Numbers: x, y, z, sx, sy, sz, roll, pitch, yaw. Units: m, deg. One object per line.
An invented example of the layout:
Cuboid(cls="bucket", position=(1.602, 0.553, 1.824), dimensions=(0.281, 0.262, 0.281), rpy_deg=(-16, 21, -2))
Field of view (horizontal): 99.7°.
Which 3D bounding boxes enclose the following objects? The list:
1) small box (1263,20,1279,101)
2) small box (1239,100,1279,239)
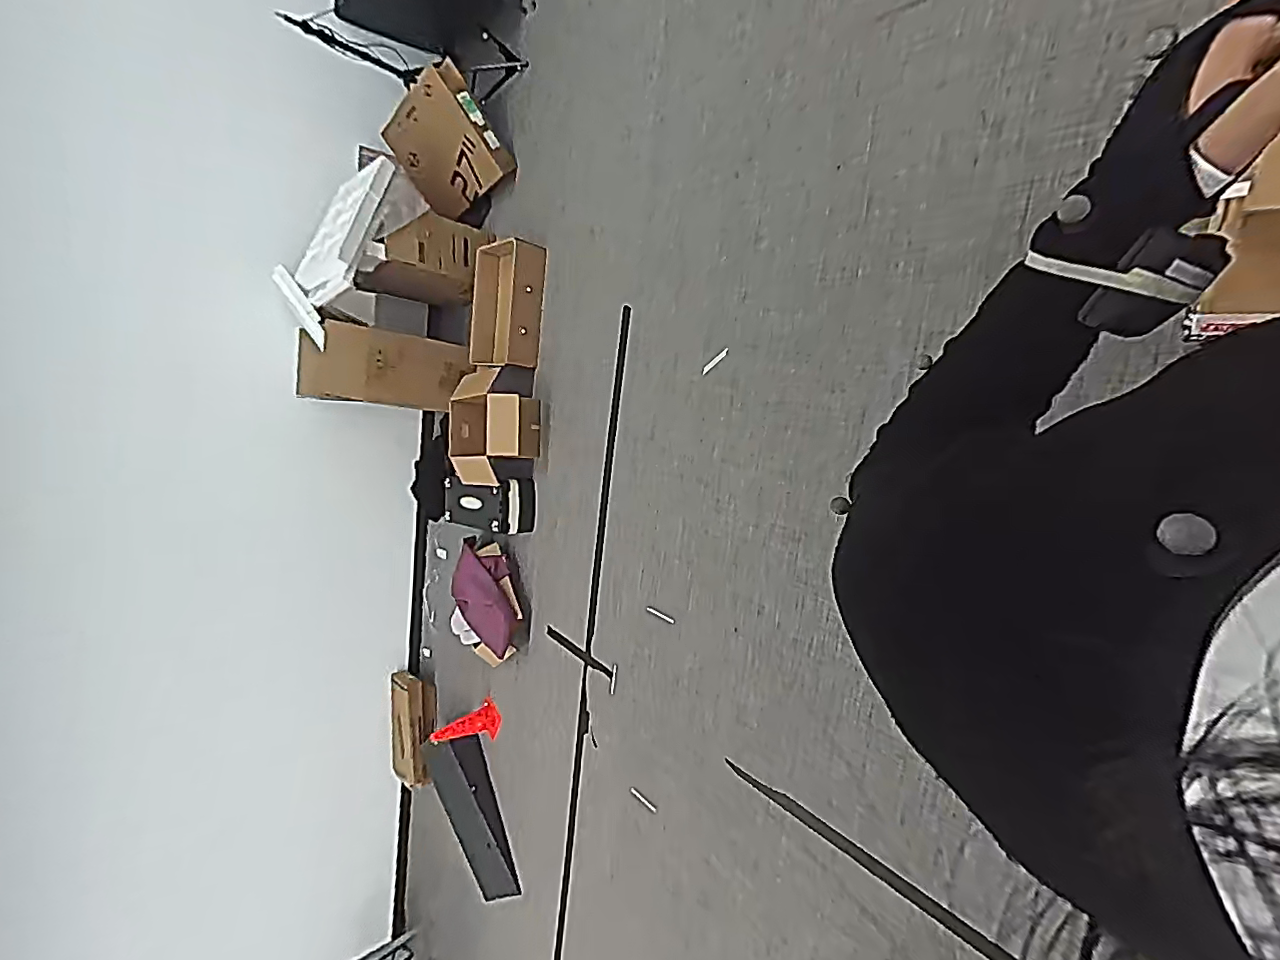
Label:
Cuboid(cls="small box", position=(0.437, -0.292, 0.233), dimensions=(0.168, 0.176, 0.179), rpy_deg=(18, 119, 32))
Cuboid(cls="small box", position=(0.787, -0.364, 0.572), dimensions=(0.168, 0.176, 0.179), rpy_deg=(21, 108, 47))
